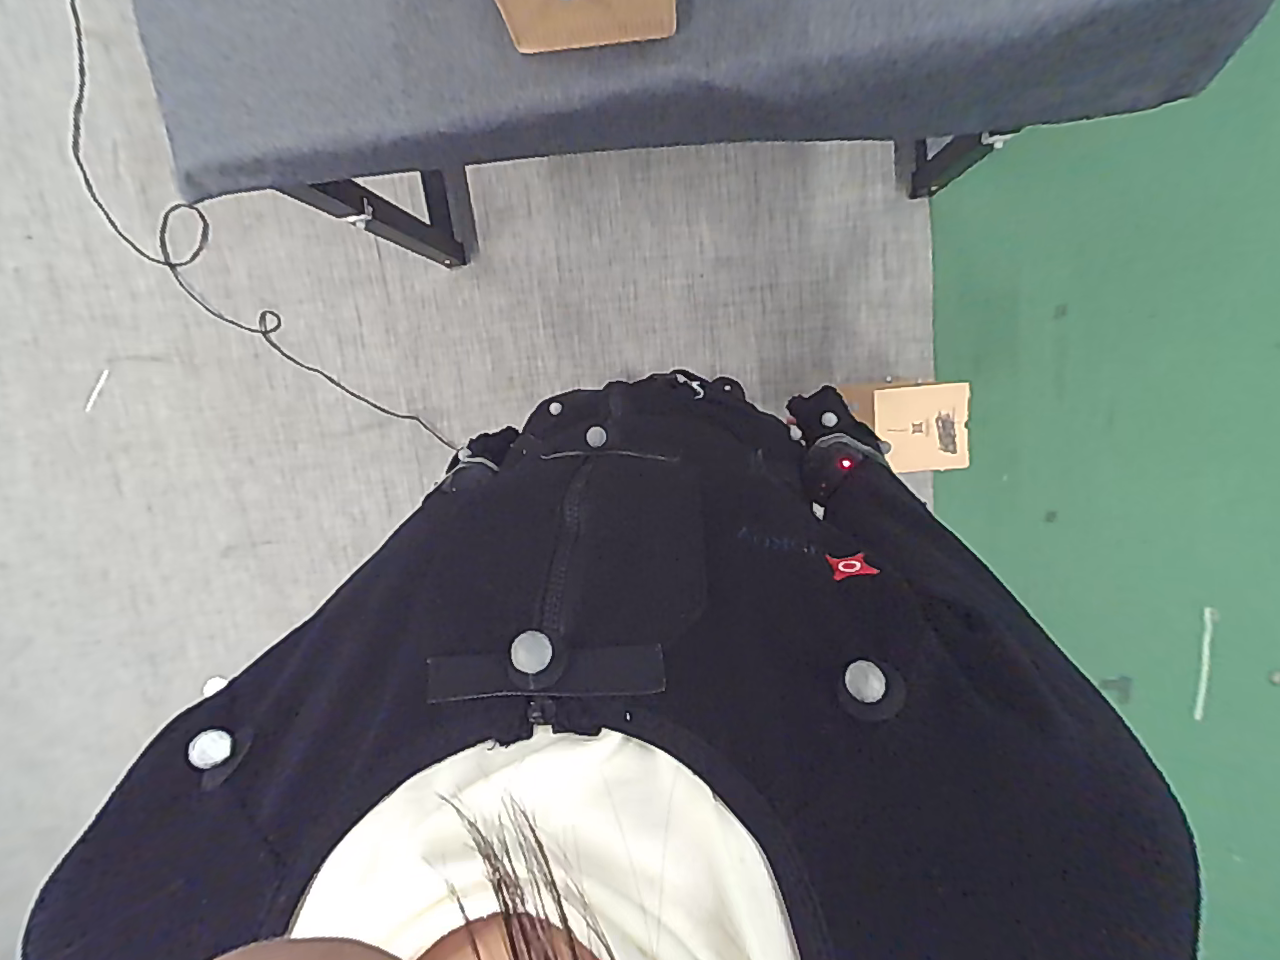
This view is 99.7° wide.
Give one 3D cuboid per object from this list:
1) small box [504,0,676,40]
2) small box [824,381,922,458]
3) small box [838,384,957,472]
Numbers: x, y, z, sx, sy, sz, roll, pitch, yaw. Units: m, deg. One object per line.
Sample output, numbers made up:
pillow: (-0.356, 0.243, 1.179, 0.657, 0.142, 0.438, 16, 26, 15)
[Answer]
small box: (-0.058, -0.551, 0.501, 0.179, 0.176, 0.168, -2, 100, 4)
small box: (0.549, -0.145, 1.285, 0.179, 0.176, 0.168, -6, 99, 6)
small box: (0.527, -0.113, 1.124, 0.179, 0.176, 0.168, -3, 99, 5)
